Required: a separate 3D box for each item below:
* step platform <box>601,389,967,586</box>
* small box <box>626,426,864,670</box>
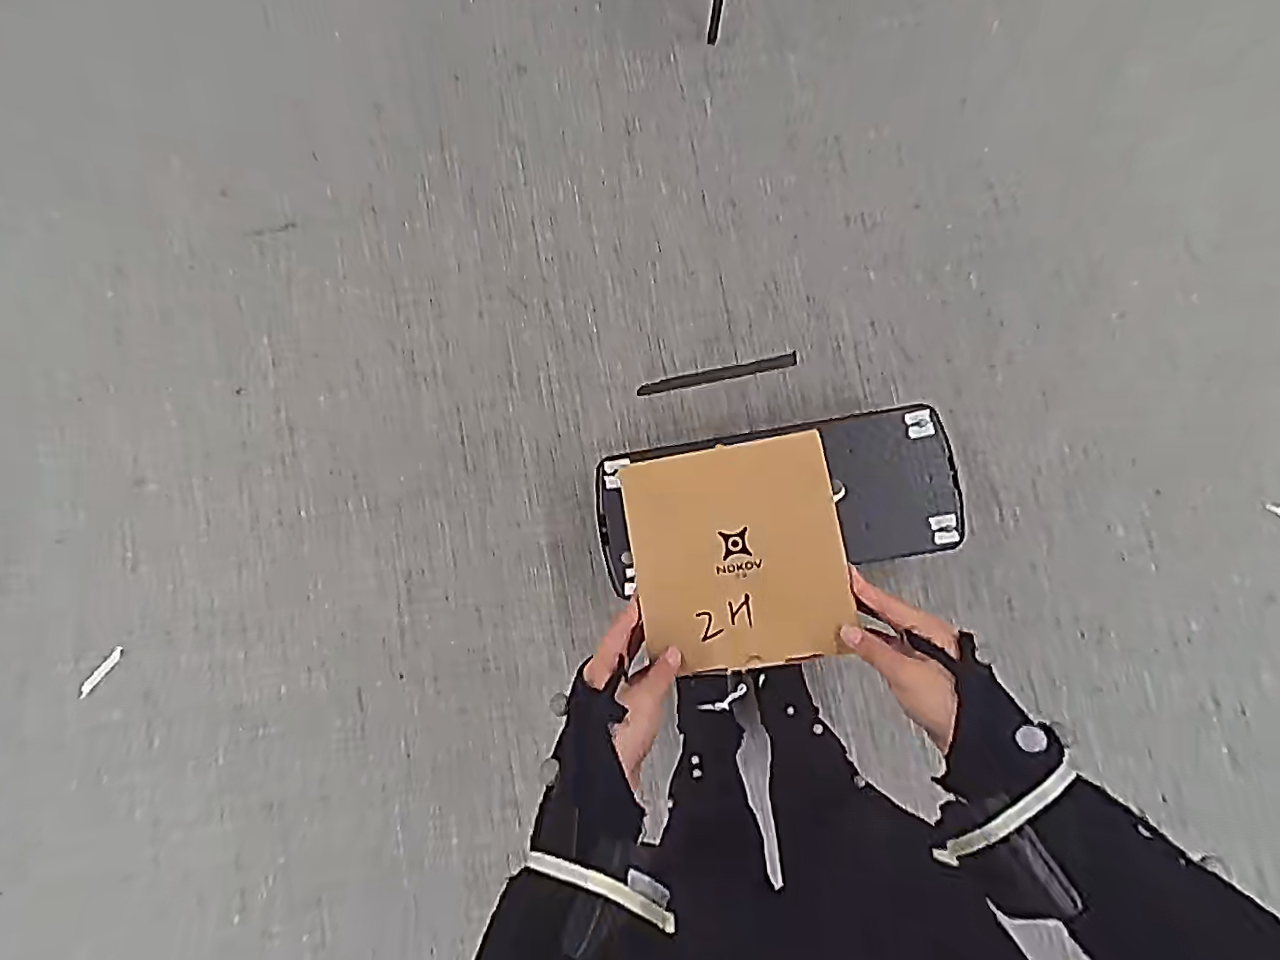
[{"bbox_3d":[0.265,0.022,1.079,0.684,0.204,0.286,-10,83,3],"label":"step platform"},{"bbox_3d":[0.089,0.062,0.507,0.168,0.176,0.179,-10,84,7],"label":"small box"}]
